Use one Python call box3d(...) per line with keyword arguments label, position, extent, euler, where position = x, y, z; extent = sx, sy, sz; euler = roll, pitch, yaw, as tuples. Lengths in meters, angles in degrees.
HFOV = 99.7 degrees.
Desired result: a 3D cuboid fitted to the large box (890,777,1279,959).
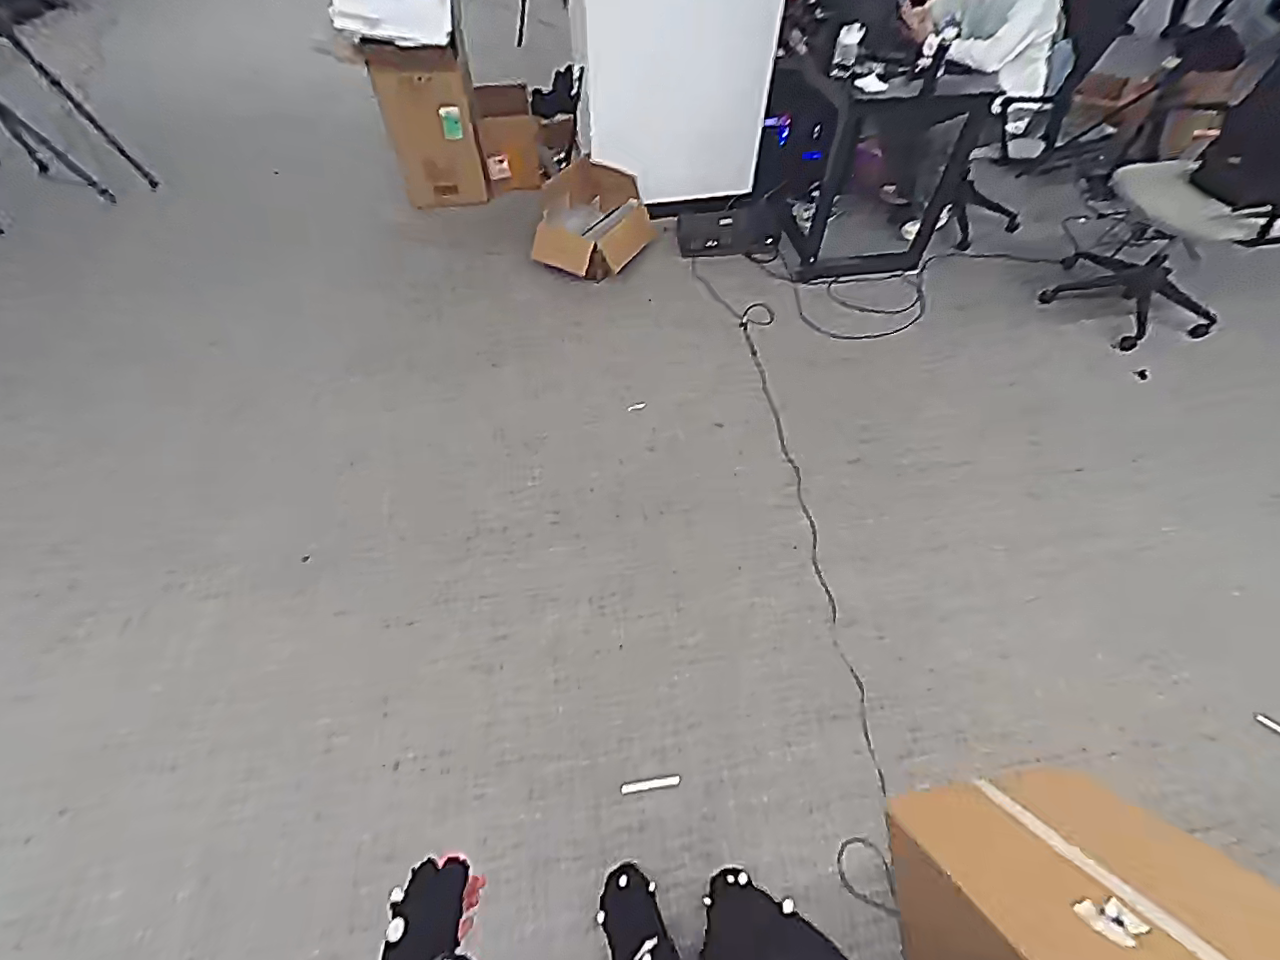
box3d(label="large box", position=(0.565, 0.633, 0.645), extent=(0.320, 0.408, 0.320), euler=(-7, 90, -6))
